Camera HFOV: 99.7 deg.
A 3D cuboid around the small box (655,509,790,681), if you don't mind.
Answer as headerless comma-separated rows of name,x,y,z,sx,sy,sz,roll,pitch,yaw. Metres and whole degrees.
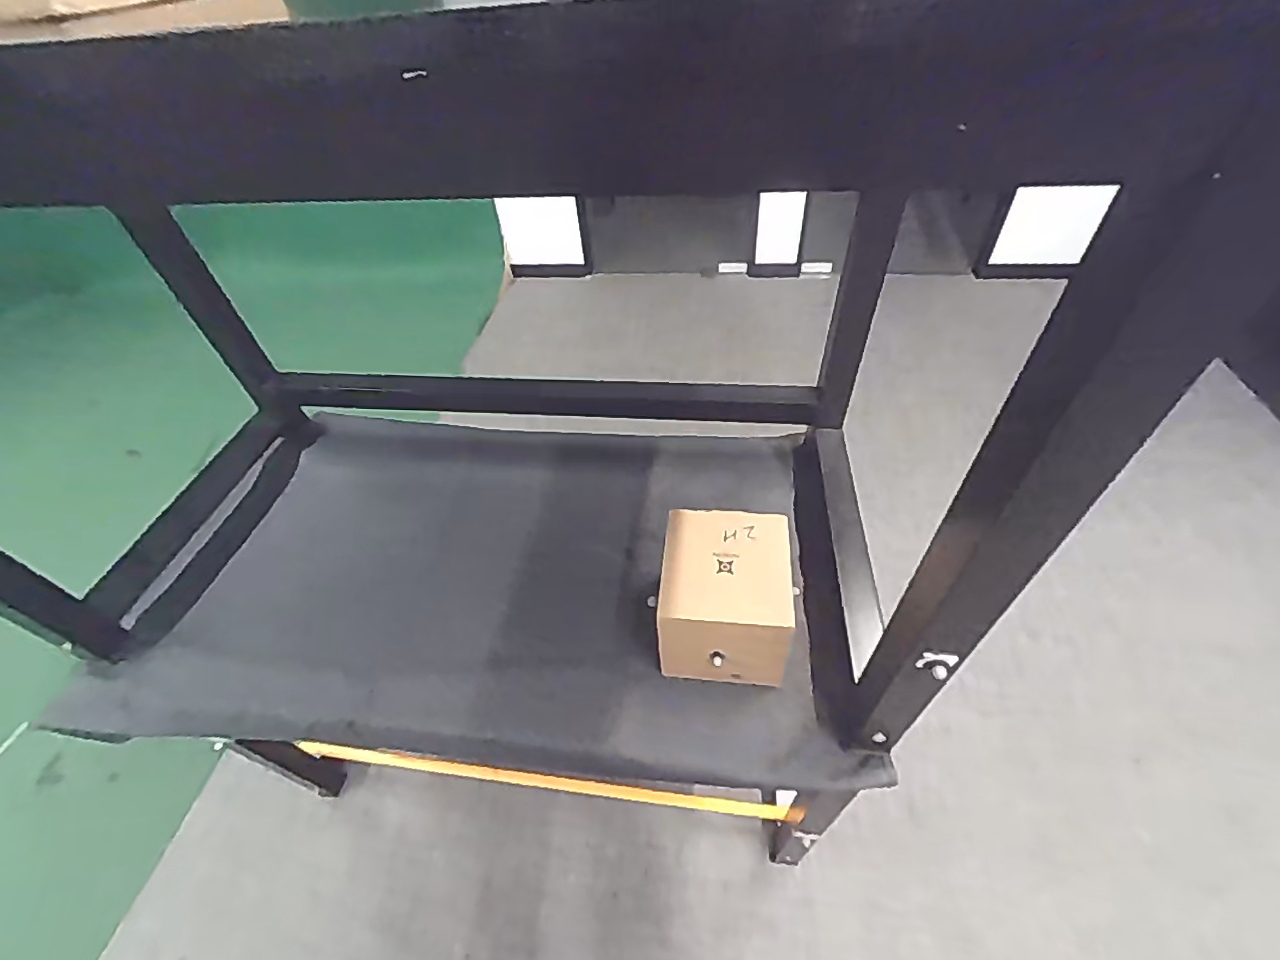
small box,0.116,0.163,0.762,0.168,0.176,0.179,3,46,8
